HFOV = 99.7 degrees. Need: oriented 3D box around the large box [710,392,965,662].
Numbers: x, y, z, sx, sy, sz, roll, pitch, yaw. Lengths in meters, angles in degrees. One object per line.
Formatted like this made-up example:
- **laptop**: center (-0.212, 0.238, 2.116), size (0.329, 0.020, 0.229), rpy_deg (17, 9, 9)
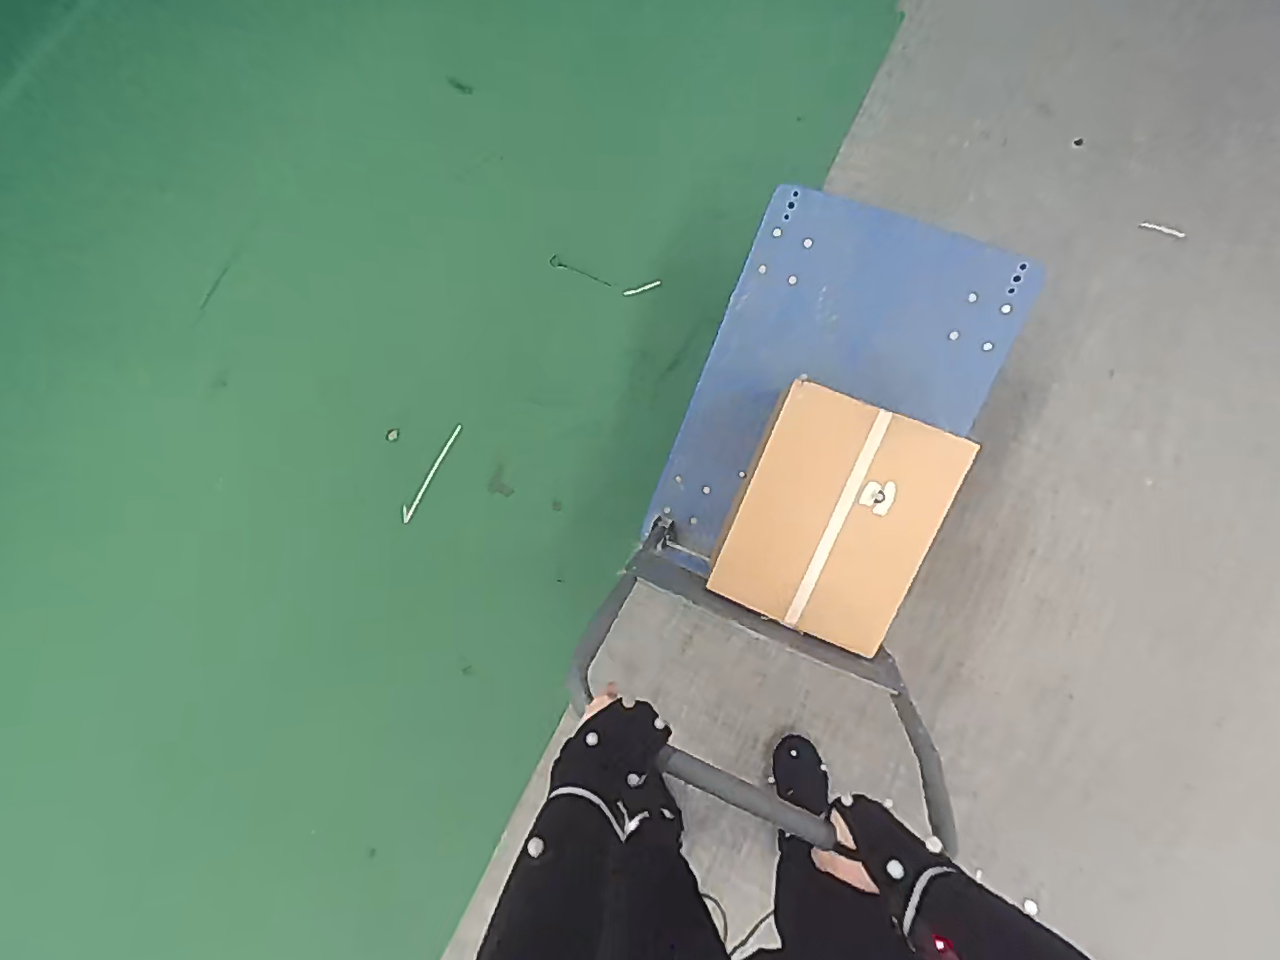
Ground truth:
- **large box**: center (0.362, 0.073, 1.090), size (0.320, 0.320, 0.408), rpy_deg (23, 99, 7)
